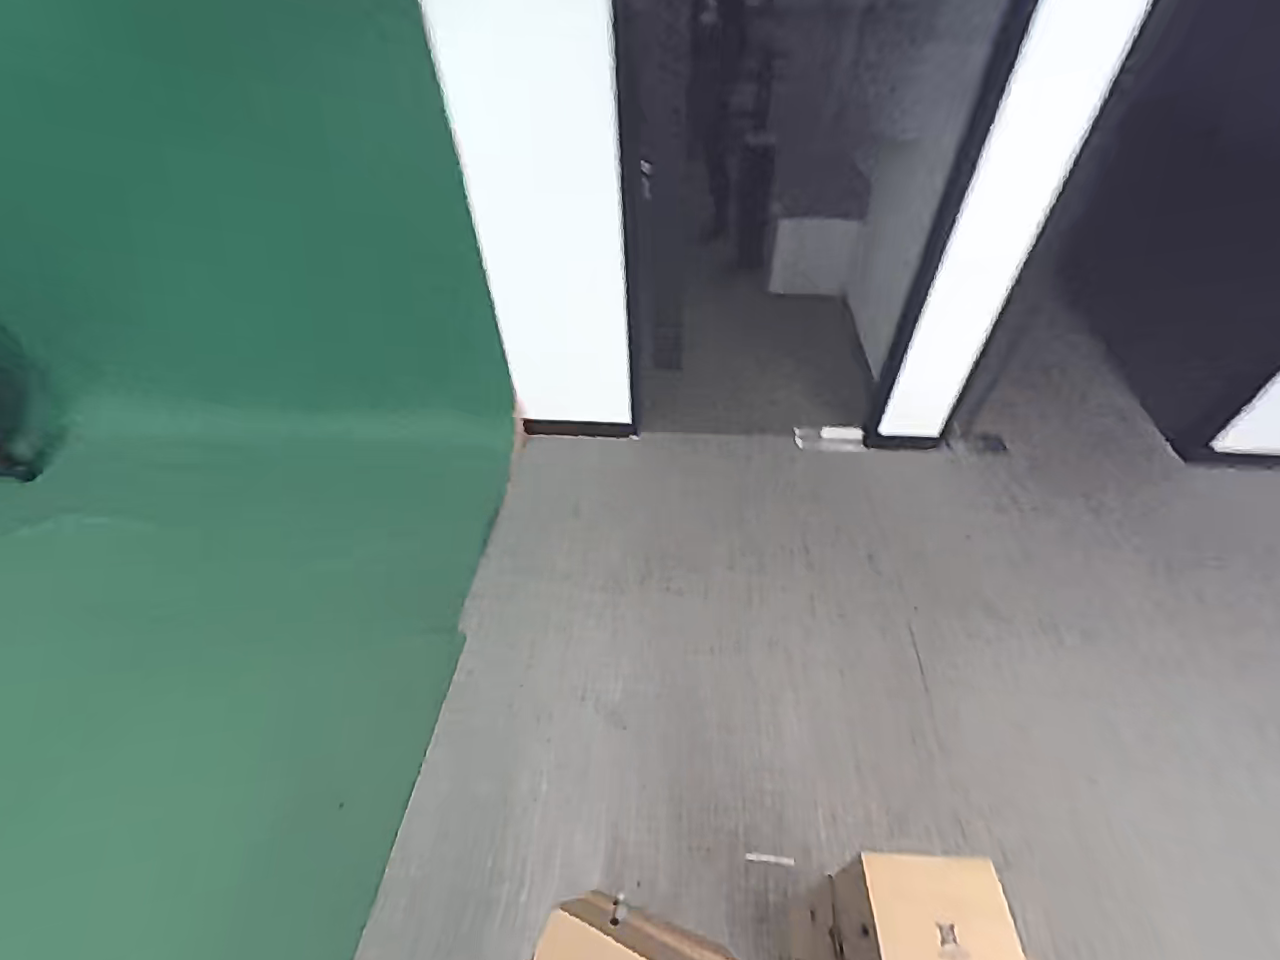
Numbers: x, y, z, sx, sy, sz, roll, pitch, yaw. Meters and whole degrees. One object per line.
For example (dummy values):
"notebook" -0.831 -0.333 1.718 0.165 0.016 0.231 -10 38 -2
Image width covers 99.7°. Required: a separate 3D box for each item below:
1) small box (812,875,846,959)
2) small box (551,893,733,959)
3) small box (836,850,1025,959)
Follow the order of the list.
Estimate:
"small box" 0.362 0.710 0.800 0.179 0.176 0.168 3 45 4
"small box" -0.005 0.528 0.526 0.179 0.176 0.168 14 56 14
"small box" 0.359 0.595 0.683 0.168 0.176 0.179 1 45 5
